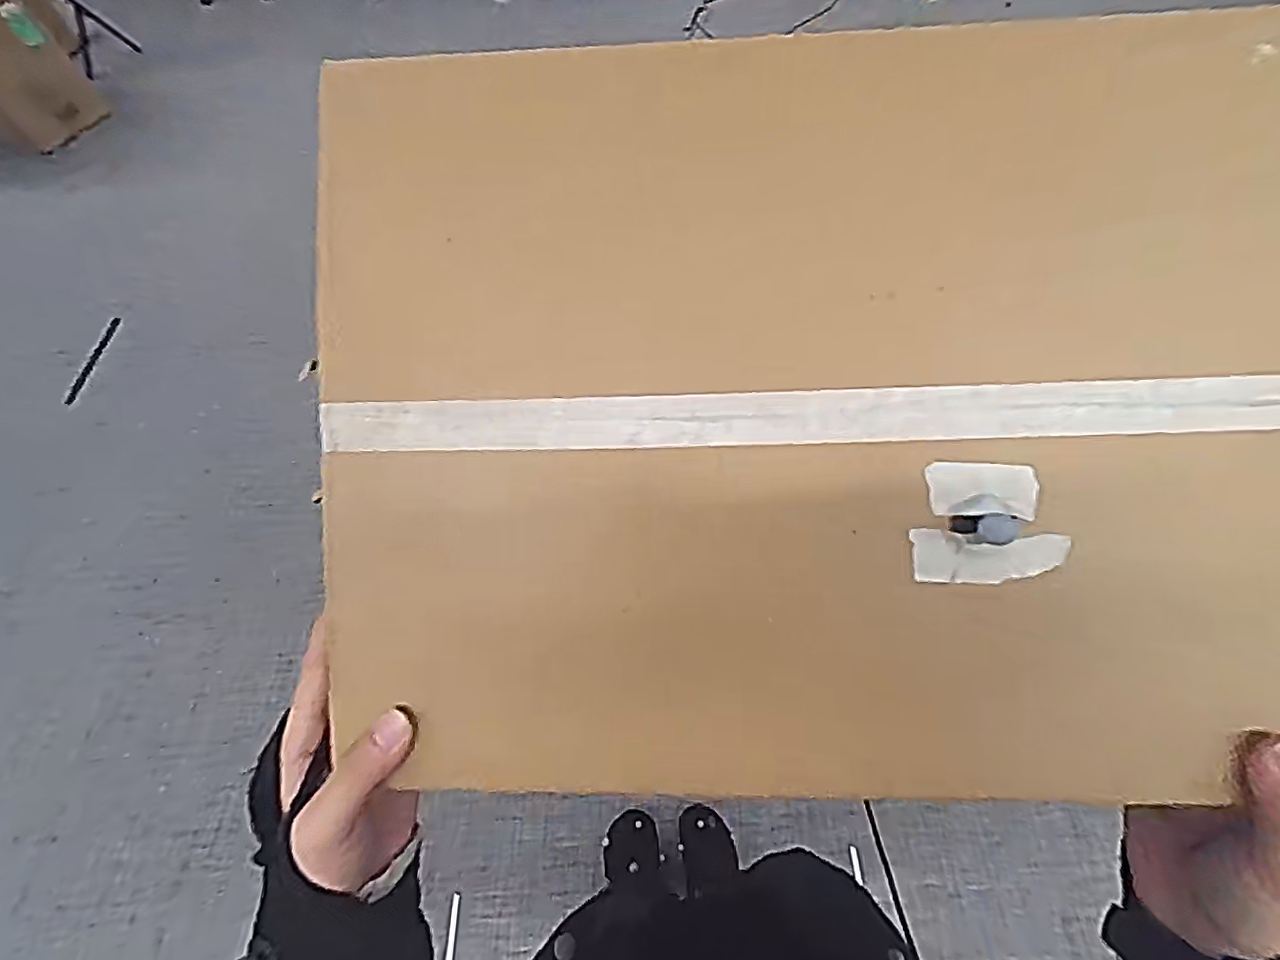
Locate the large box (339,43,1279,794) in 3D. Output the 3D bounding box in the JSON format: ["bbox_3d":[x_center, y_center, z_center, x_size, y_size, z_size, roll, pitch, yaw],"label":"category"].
[{"bbox_3d":[0.072,-0.021,0.379,0.408,0.320,0.320,-1,90,2],"label":"large box"}]
